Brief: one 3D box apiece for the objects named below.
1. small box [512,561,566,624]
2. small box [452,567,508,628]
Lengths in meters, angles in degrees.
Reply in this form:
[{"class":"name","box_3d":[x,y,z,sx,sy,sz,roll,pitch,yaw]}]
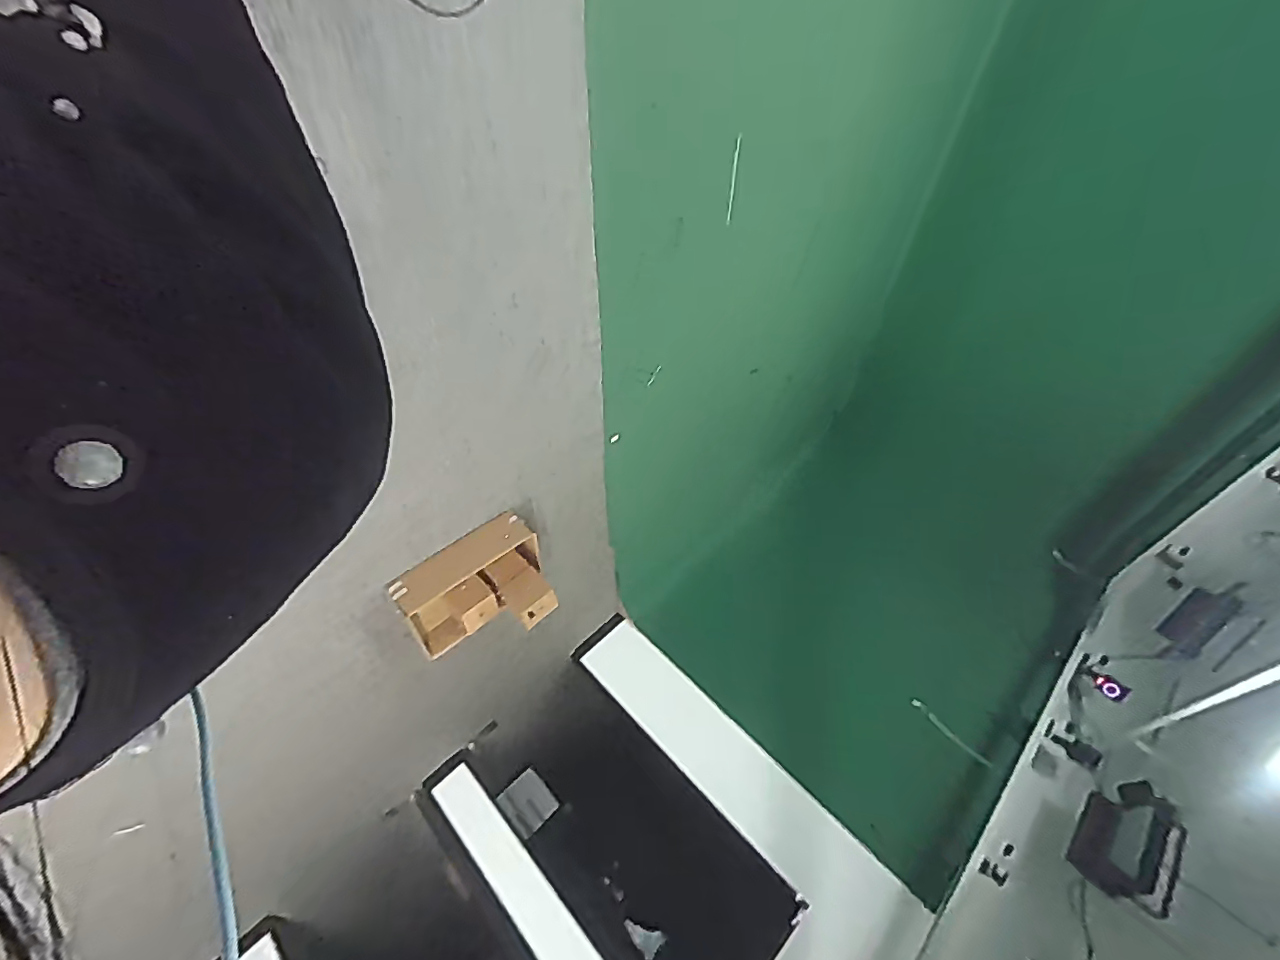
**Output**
[{"class":"small box","box_3d":[-0.462,0.505,2.442,0.179,0.176,0.168,-37,148,-25]},{"class":"small box","box_3d":[-0.720,0.525,2.435,0.168,0.176,0.179,-35,147,-29]}]
